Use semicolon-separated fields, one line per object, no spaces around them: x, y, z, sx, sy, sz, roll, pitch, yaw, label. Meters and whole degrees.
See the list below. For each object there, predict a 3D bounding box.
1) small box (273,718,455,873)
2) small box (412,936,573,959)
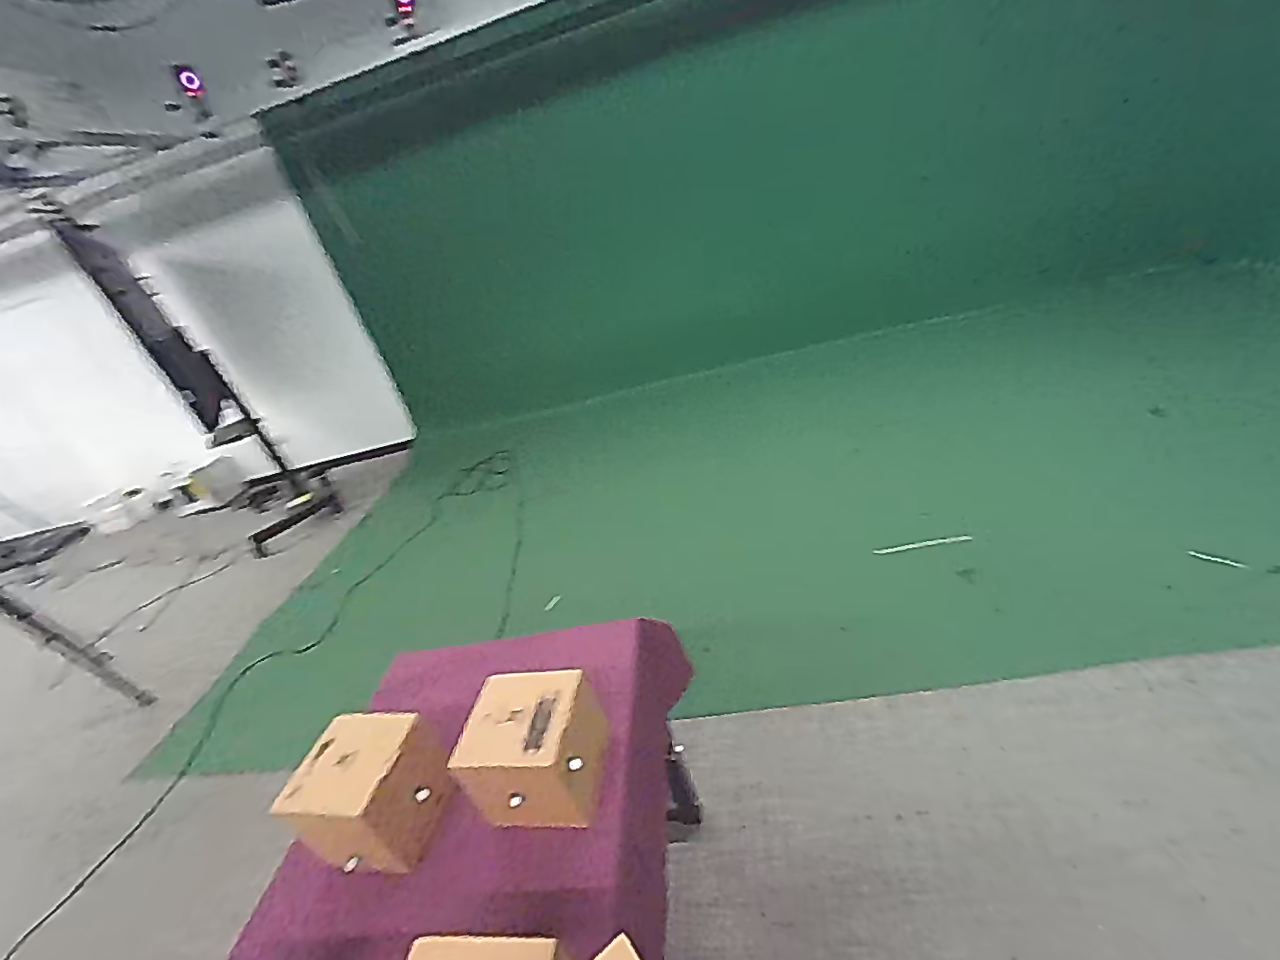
-0.442;0.523;0.901;0.179;0.176;0.168;-8;29;17;small box
-0.157;0.617;0.569;0.179;0.176;0.168;-11;30;13;small box
